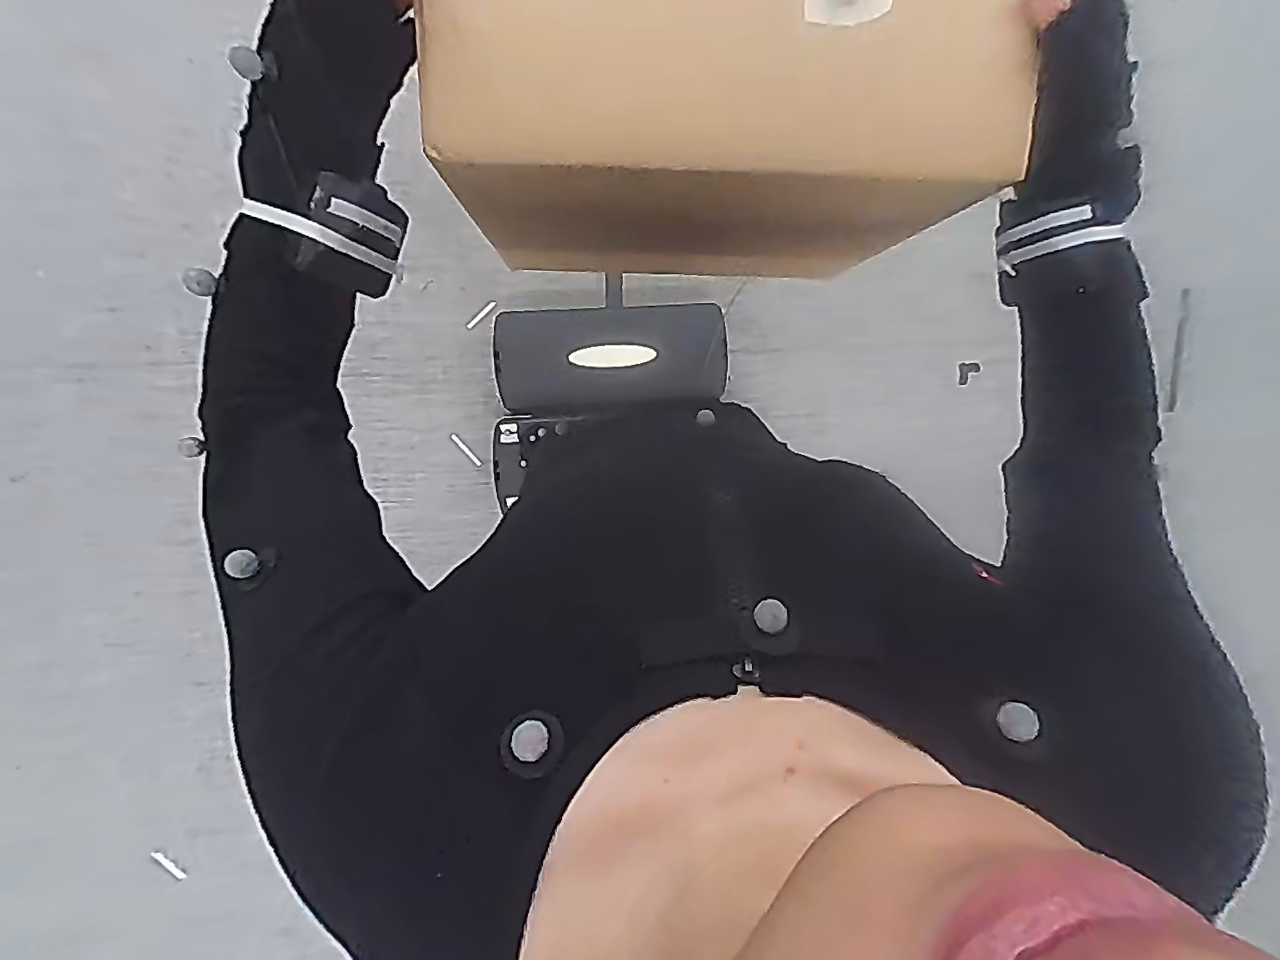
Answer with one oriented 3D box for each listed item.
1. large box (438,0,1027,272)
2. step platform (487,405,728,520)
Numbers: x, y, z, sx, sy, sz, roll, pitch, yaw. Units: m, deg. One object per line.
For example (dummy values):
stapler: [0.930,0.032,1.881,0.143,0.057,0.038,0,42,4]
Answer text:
large box: [0.053,-0.388,0.497,0.408,0.320,0.320,-1,99,-5]
step platform: [-0.089,-0.054,1.564,0.684,0.204,0.286,-4,96,-3]
